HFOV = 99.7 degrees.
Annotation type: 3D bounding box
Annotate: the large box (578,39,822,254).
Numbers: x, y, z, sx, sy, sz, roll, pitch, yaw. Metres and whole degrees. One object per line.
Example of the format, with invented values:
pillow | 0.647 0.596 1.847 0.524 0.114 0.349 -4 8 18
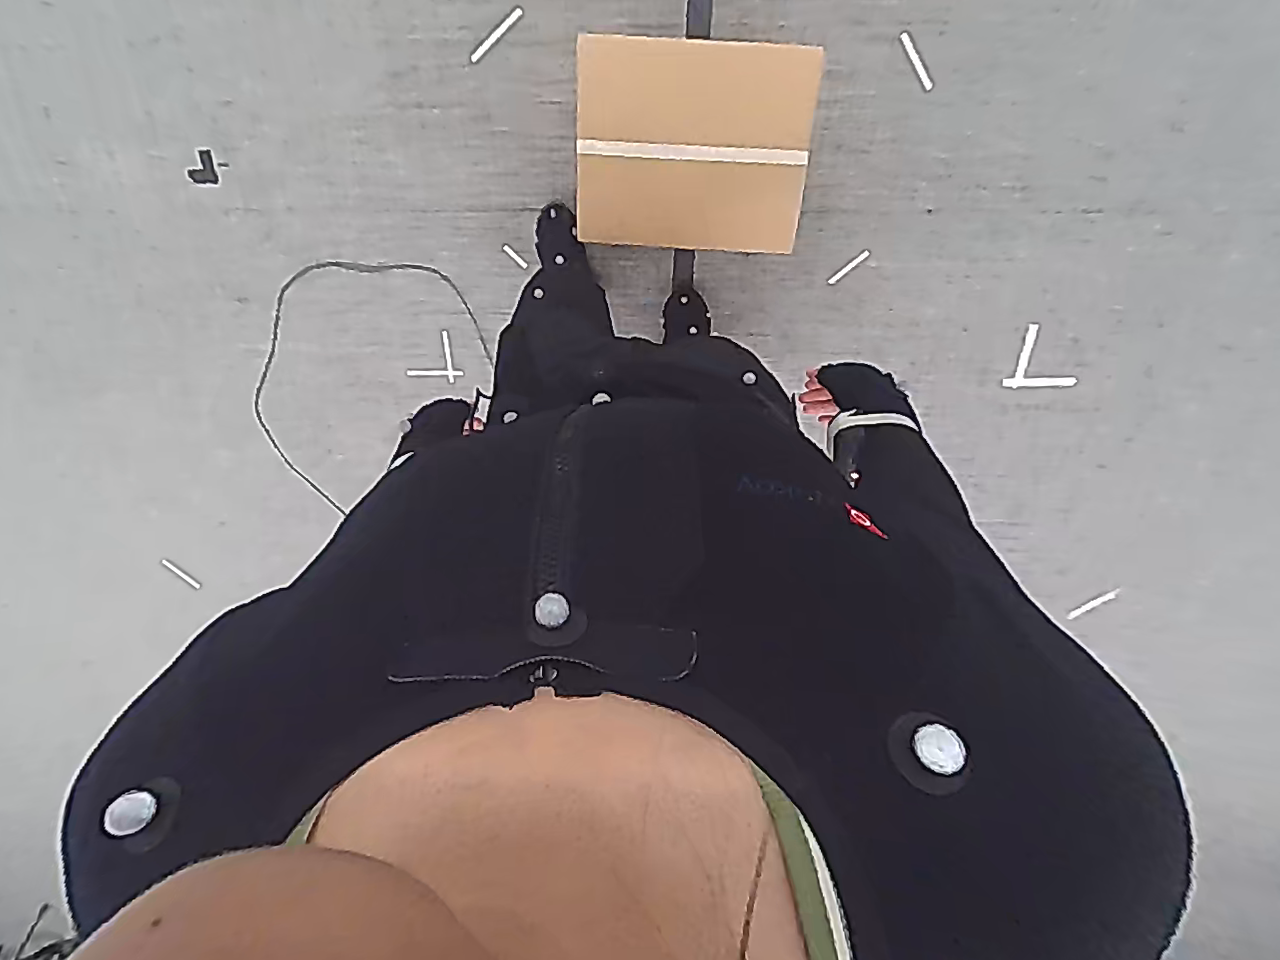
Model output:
large box | 0.099 -0.639 1.072 0.408 0.320 0.320 3 117 1
